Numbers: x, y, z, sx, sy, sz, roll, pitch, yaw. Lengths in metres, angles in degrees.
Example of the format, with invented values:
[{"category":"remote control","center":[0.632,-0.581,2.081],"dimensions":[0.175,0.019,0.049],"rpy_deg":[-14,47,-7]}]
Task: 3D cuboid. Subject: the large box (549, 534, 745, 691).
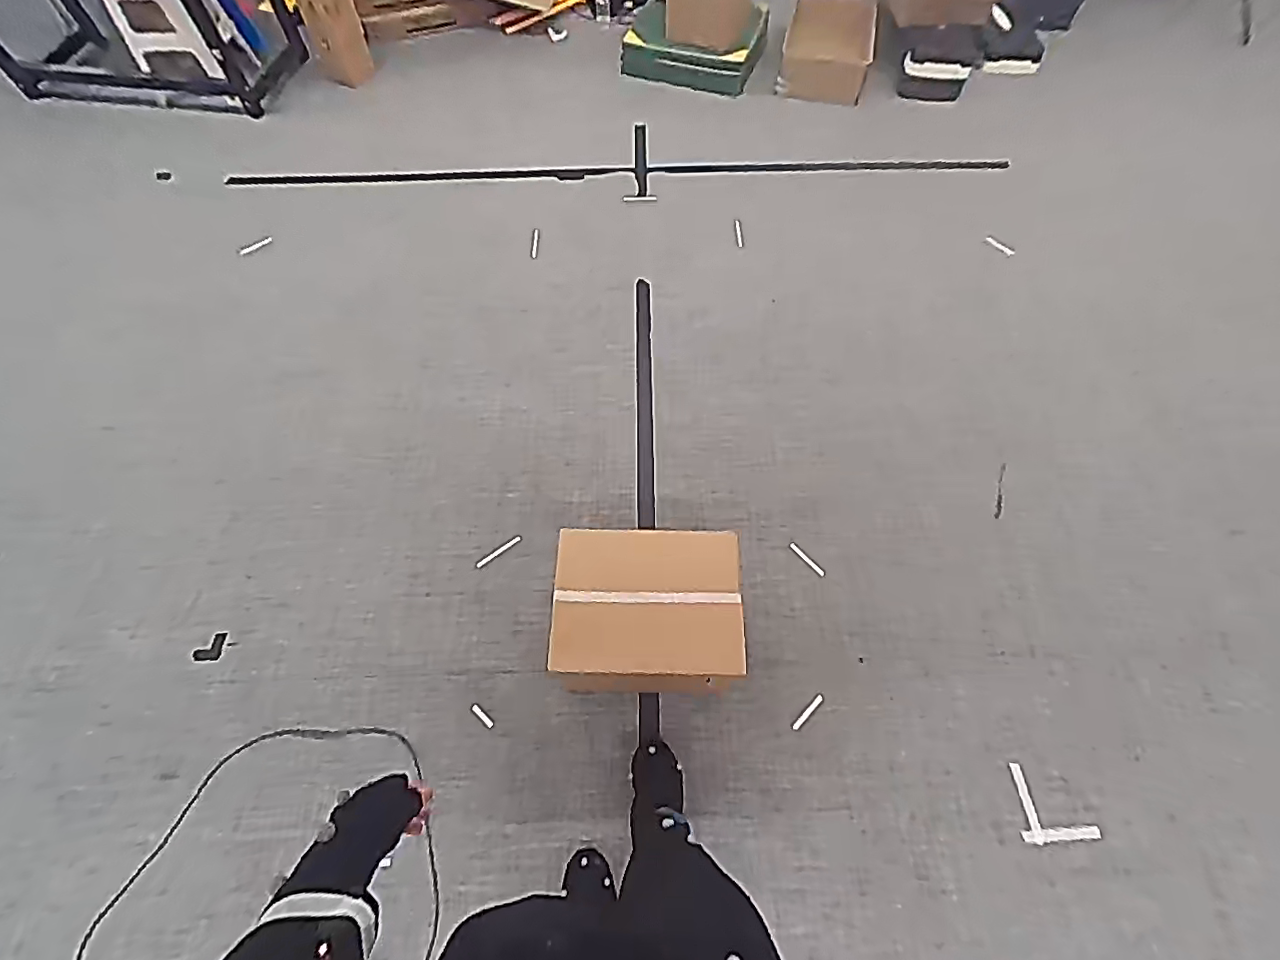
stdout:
[{"category":"large box","center":[0.015,0.327,1.288],"dimensions":[0.408,0.320,0.320],"rpy_deg":[1,62,-1]}]
